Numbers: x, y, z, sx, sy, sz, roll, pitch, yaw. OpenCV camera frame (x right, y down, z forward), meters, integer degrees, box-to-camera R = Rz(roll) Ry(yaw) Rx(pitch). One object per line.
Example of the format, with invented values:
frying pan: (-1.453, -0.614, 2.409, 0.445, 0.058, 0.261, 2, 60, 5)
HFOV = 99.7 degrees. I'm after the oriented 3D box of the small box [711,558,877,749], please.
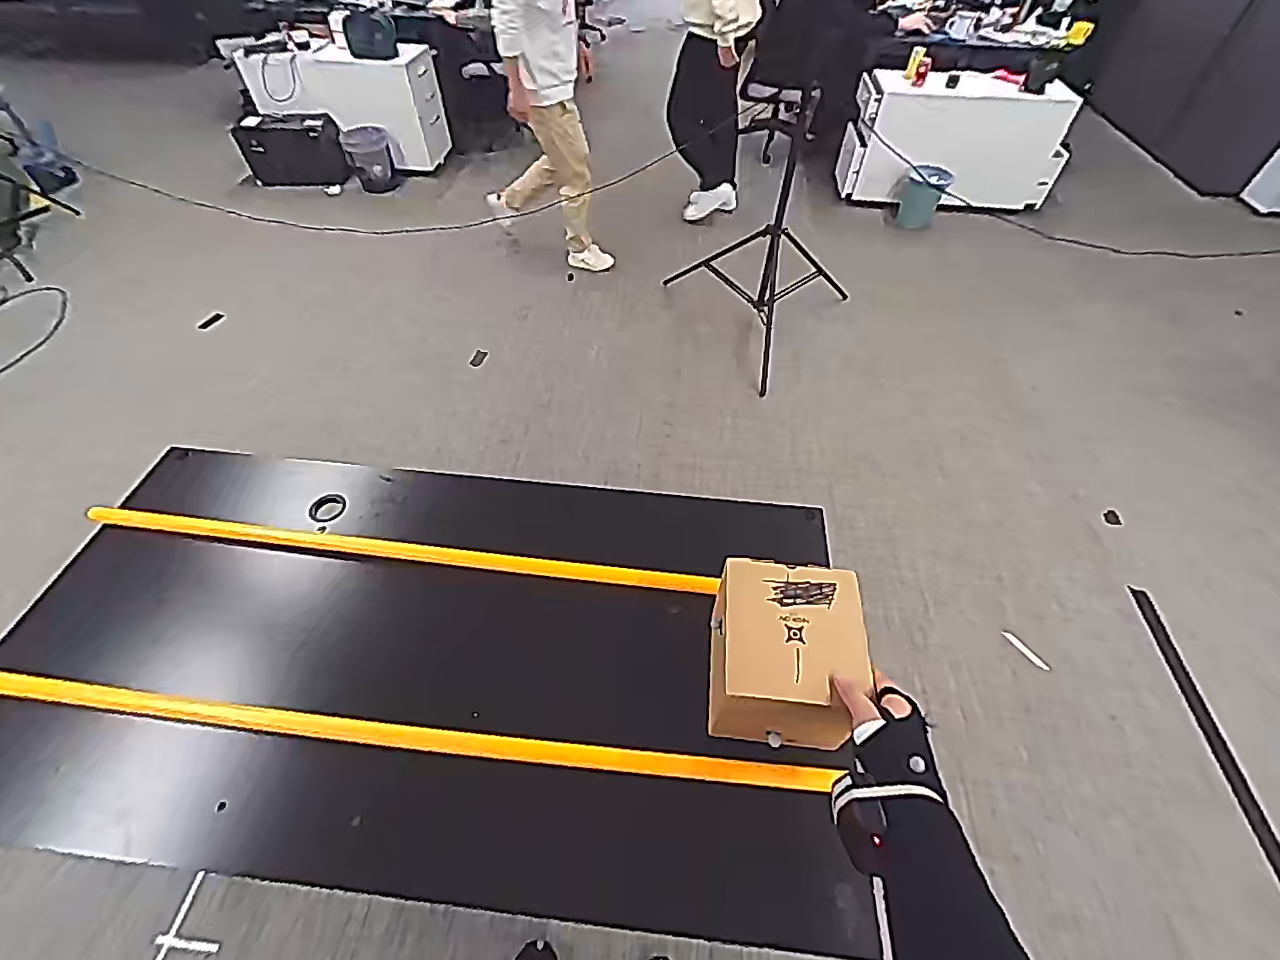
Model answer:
small box: (0.184, 0.226, 0.701, 0.168, 0.176, 0.179, 5, 51, 4)
